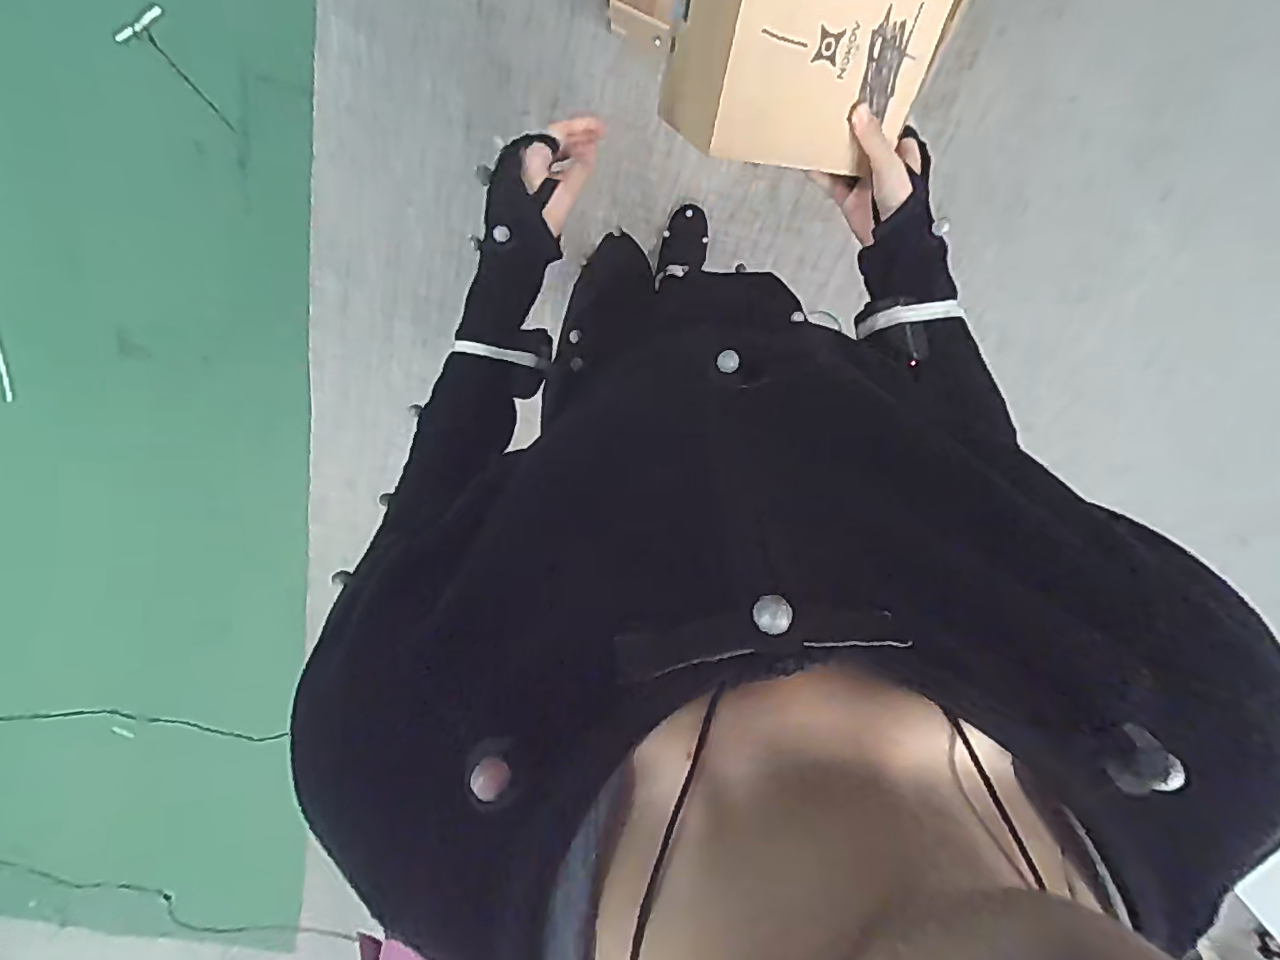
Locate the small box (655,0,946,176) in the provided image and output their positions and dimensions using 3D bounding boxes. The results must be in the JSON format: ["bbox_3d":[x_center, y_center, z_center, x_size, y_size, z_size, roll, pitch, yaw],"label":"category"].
[{"bbox_3d":[0.126,-0.387,0.471,0.179,0.176,0.168,-1,133,-15],"label":"small box"}]
